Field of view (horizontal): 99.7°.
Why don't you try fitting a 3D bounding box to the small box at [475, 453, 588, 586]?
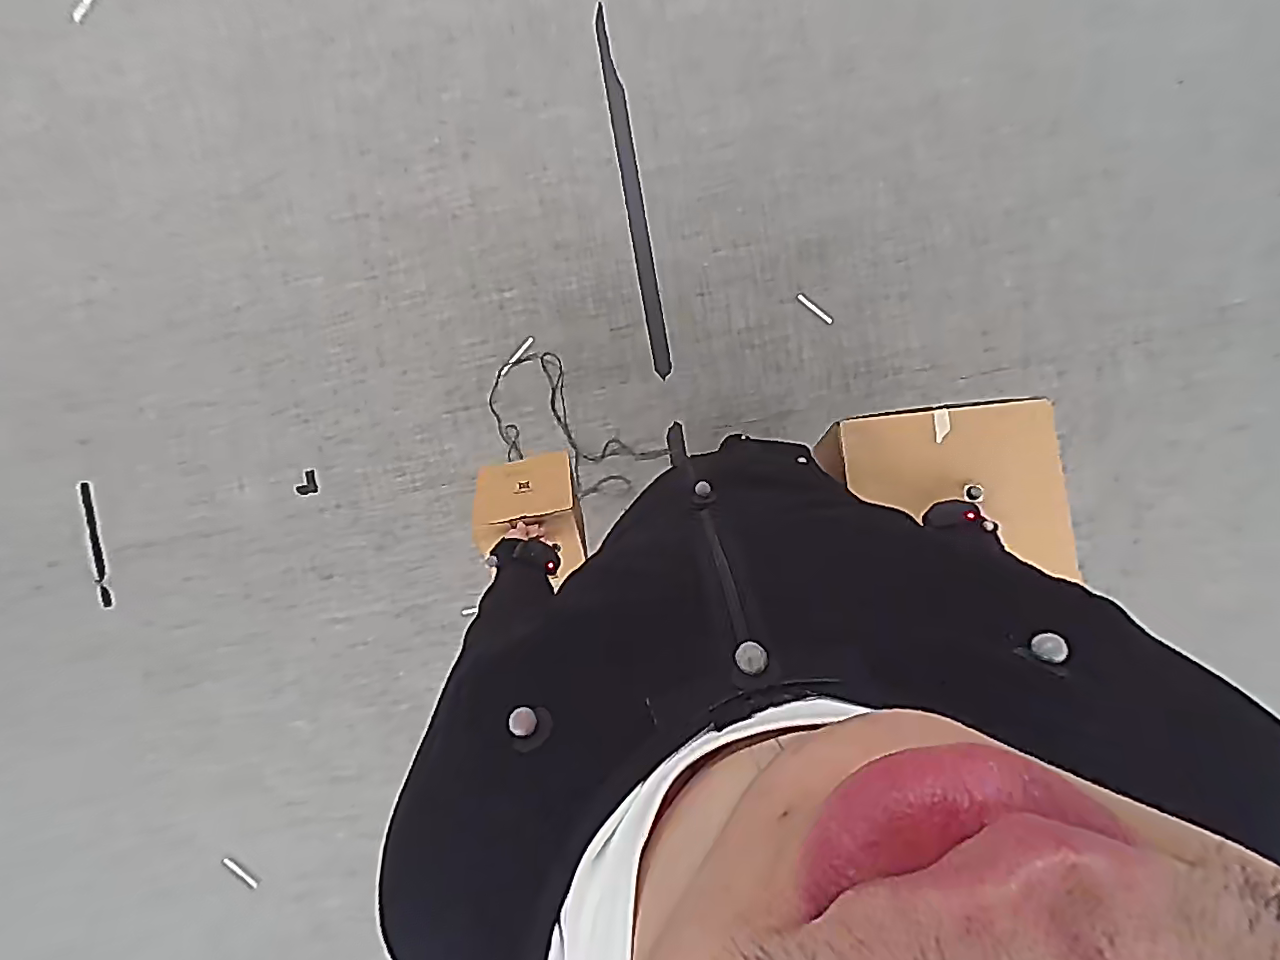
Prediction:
[{"bbox_3d":[-0.194,0.077,0.997,0.168,0.179,0.176,-10,126,-4],"label":"small box"}]
